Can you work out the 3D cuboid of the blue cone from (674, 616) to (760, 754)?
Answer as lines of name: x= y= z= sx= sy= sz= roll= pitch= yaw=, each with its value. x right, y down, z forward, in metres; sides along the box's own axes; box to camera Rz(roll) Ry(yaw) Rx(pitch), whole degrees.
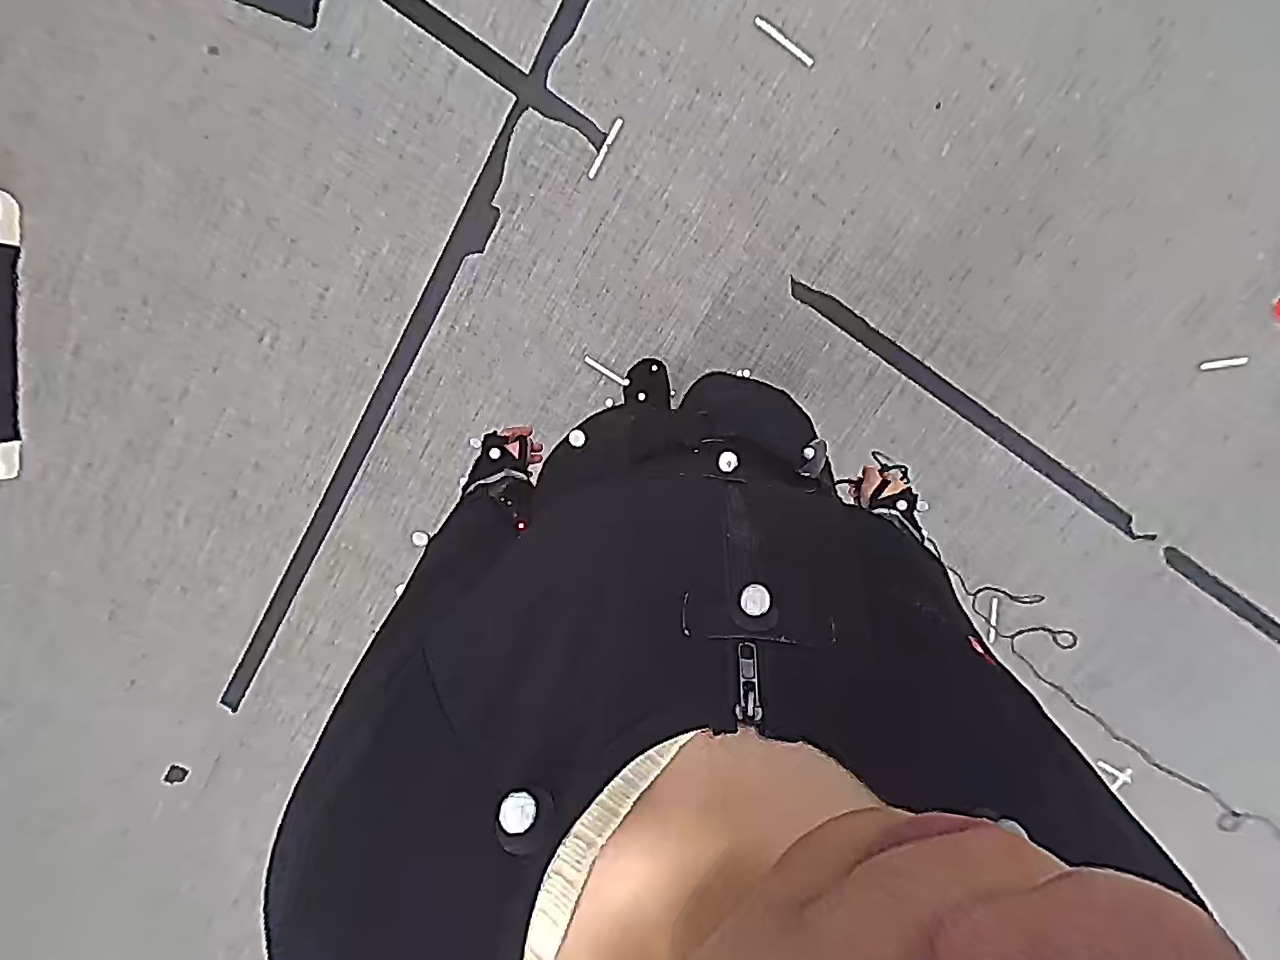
blue cone: x=0.218 y=0.516 z=1.331 sx=0.193 sy=0.380 sz=0.192 roll=32 pitch=102 yaw=-9
